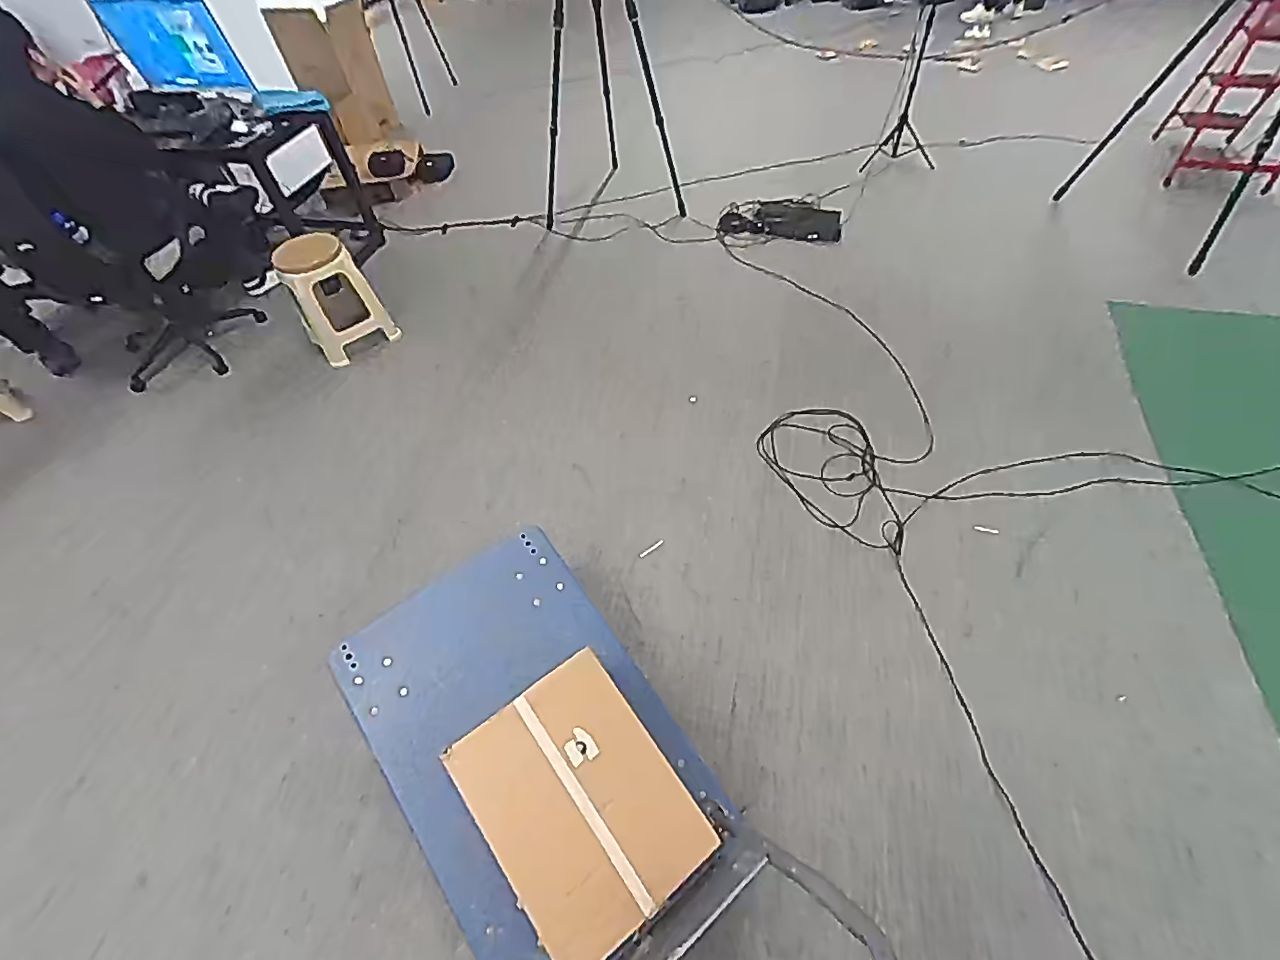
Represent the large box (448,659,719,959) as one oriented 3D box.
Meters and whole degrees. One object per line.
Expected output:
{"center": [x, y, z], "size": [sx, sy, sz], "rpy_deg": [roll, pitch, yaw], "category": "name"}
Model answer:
{"center": [-0.111, 0.630, 1.075], "size": [0.320, 0.320, 0.408], "rpy_deg": [-33, 73, -20], "category": "large box"}
